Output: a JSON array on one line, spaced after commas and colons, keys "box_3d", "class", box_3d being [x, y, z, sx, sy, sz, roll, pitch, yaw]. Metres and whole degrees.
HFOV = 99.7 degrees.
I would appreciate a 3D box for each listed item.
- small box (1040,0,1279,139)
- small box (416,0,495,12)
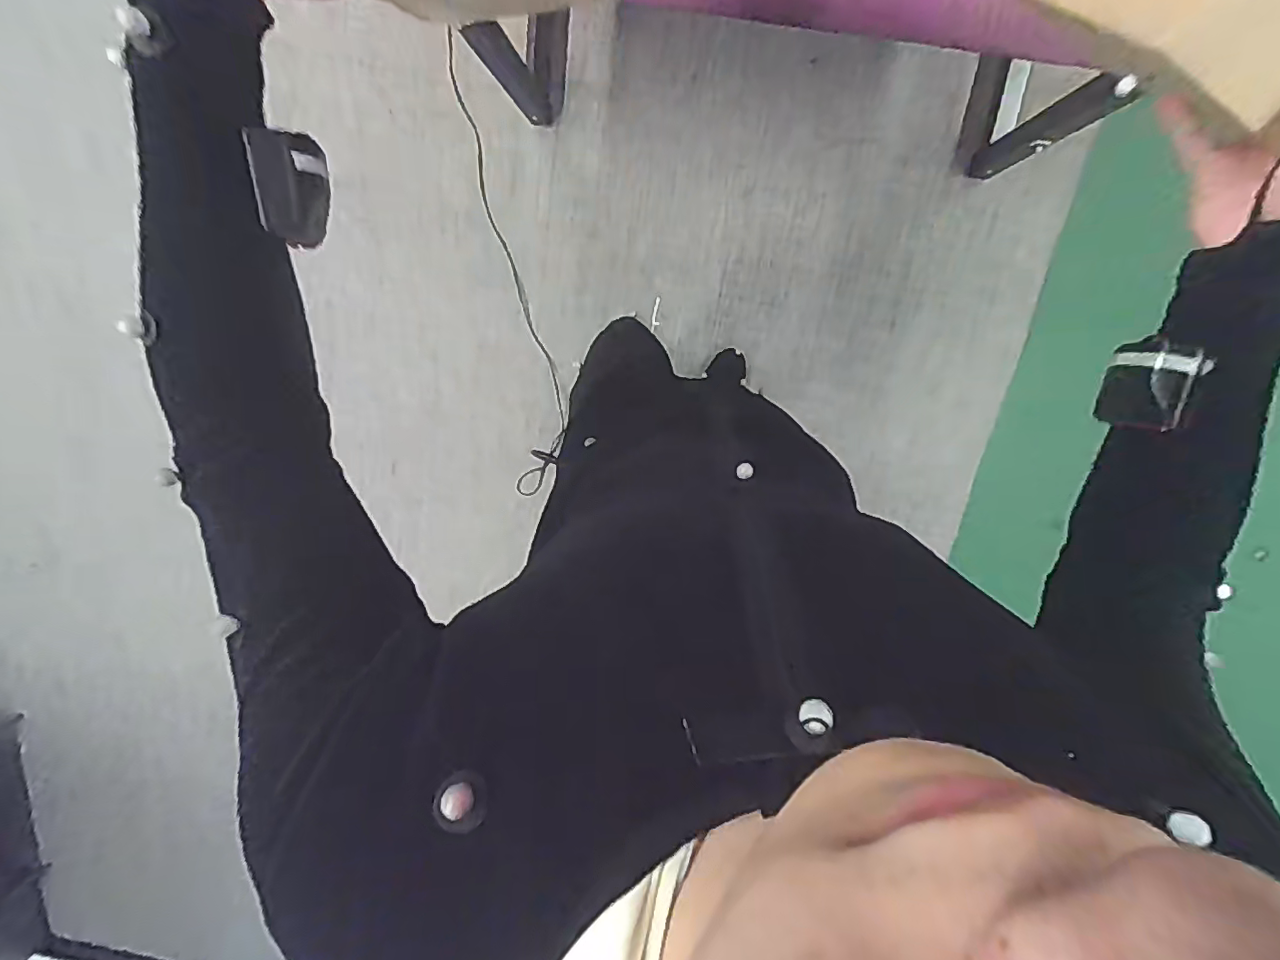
[{"box_3d": [0.380, -0.353, 0.325, 0.179, 0.176, 0.168, 9, 138, -22], "class": "small box"}, {"box_3d": [-0.124, -0.435, 0.346, 0.179, 0.176, 0.168, 3, 118, 13], "class": "small box"}]
